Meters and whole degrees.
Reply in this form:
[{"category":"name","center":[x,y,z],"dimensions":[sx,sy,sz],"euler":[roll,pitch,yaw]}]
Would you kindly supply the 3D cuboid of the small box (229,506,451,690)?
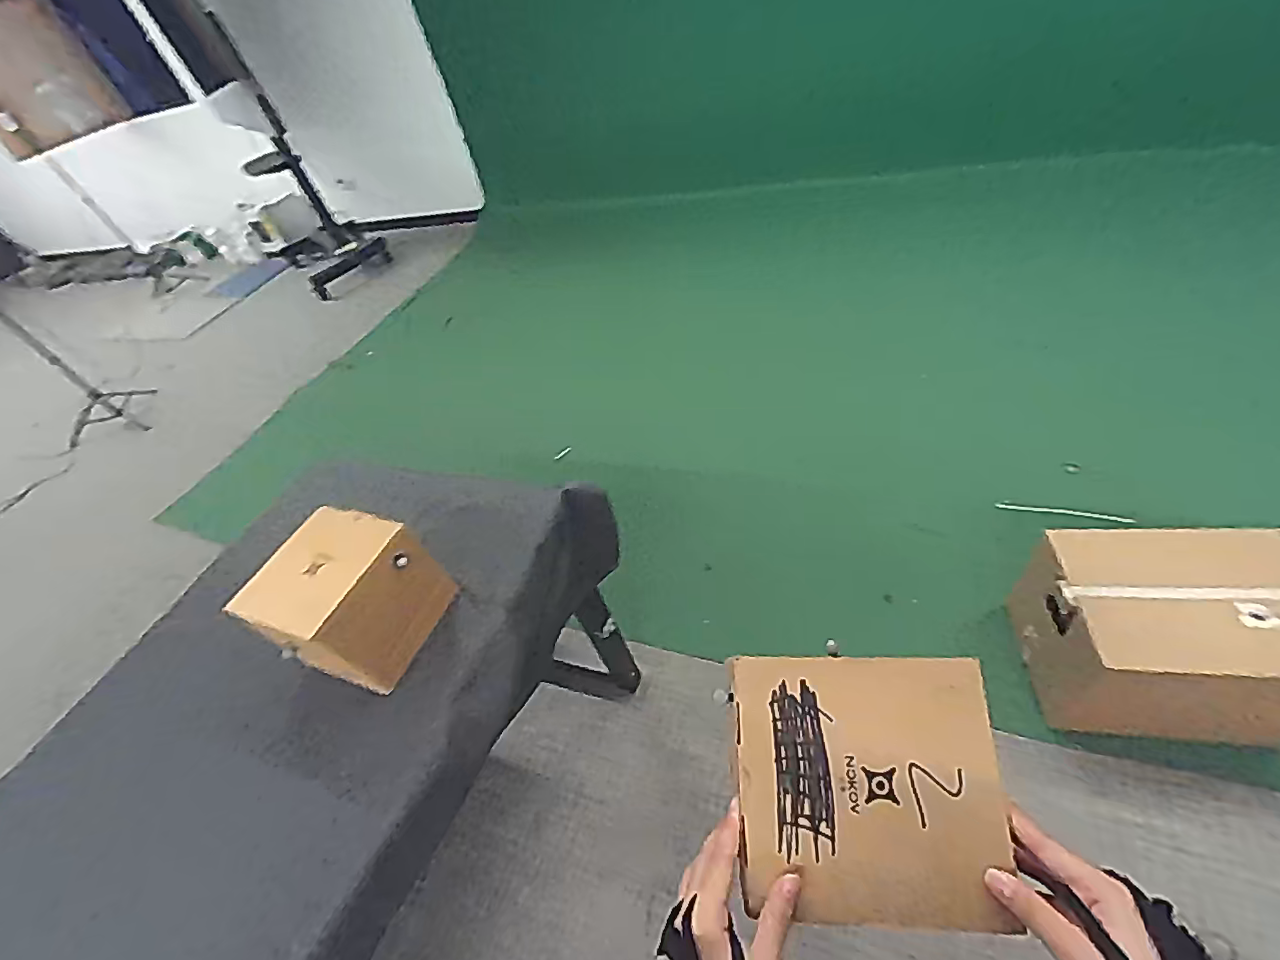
[{"category":"small box","center":[-0.398,0.164,0.753],"dimensions":[0.168,0.176,0.179],"euler":[8,50,24]}]
